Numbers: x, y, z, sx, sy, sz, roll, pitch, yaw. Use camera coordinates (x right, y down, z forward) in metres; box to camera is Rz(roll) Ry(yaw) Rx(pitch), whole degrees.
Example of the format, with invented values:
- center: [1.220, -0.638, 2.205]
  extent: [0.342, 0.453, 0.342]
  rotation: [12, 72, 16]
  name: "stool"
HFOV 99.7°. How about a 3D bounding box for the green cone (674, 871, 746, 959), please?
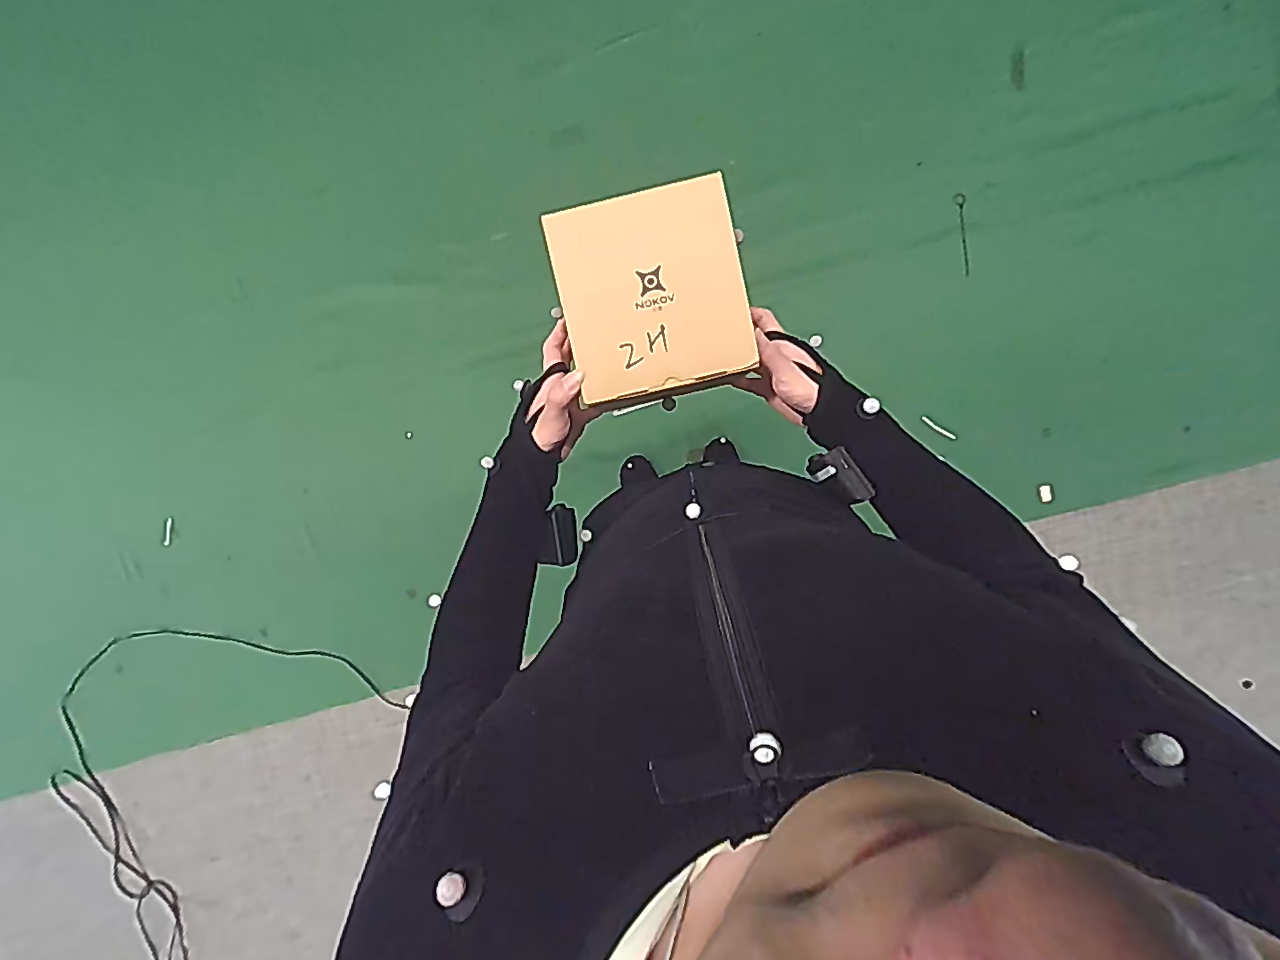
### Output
- center: [0.215, 1.358, 1.546]
  extent: [0.202, 0.368, 0.200]
  rotation: [-14, 93, 3]
  name: "green cone"
